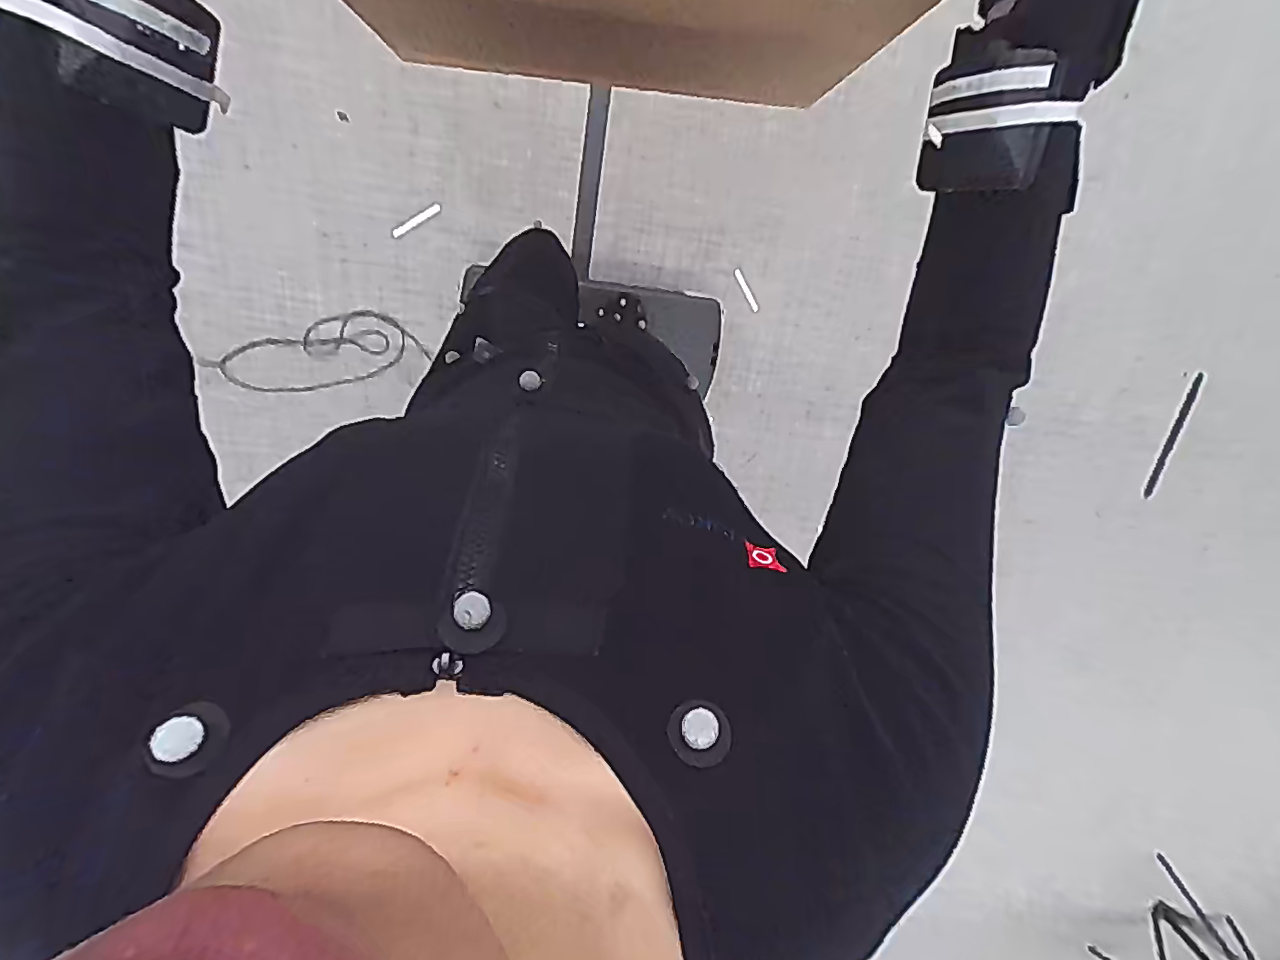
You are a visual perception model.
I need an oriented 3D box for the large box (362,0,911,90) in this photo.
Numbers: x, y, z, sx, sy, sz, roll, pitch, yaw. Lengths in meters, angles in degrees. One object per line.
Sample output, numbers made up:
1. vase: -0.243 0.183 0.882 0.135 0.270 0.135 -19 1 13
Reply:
1. large box: -0.006 -0.482 0.335 0.408 0.320 0.320 2 112 -5
